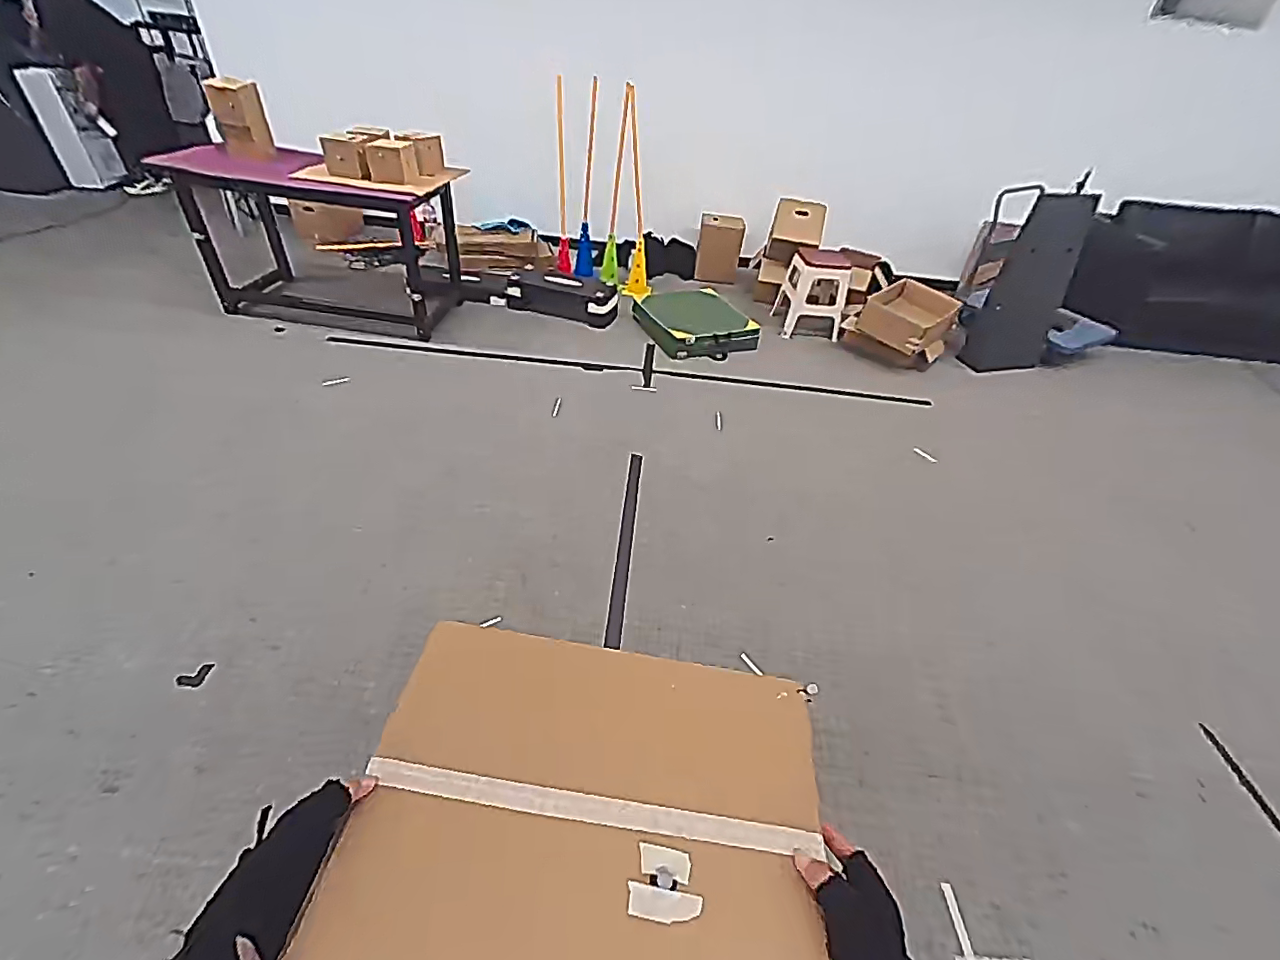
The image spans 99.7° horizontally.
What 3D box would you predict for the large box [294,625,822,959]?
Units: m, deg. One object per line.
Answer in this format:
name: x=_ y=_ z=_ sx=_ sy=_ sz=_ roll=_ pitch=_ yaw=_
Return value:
large box: x=-0.060 y=0.401 z=0.589 sx=0.408 sy=0.320 sz=0.320 roll=10 pitch=42 yaw=1
